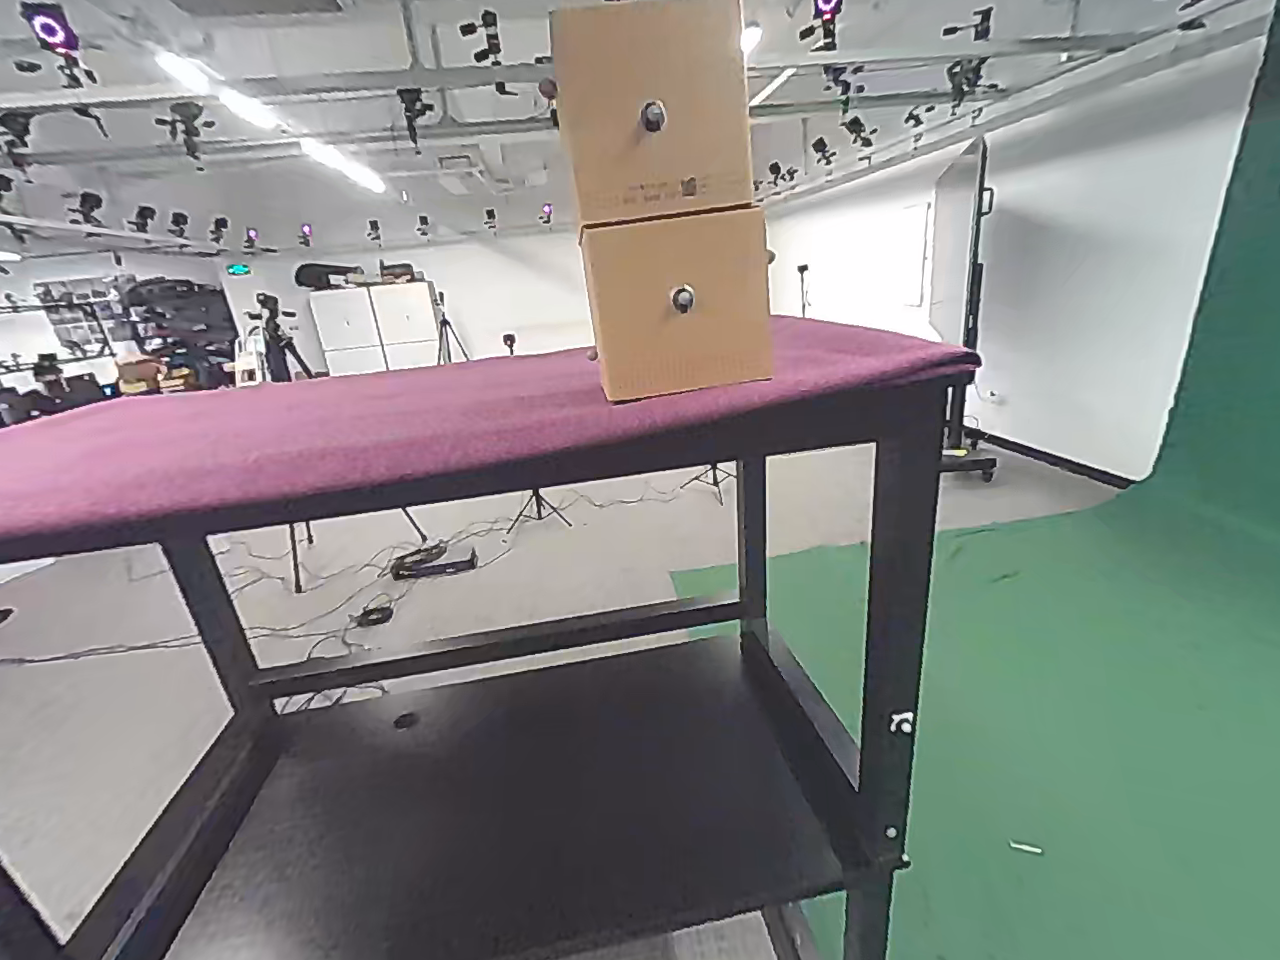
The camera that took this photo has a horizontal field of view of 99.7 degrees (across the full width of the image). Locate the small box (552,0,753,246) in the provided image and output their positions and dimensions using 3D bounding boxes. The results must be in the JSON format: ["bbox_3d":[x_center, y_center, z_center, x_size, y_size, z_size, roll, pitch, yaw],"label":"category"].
[{"bbox_3d":[0.010,-0.346,0.550,0.168,0.176,0.179,-9,19,-4],"label":"small box"}]
